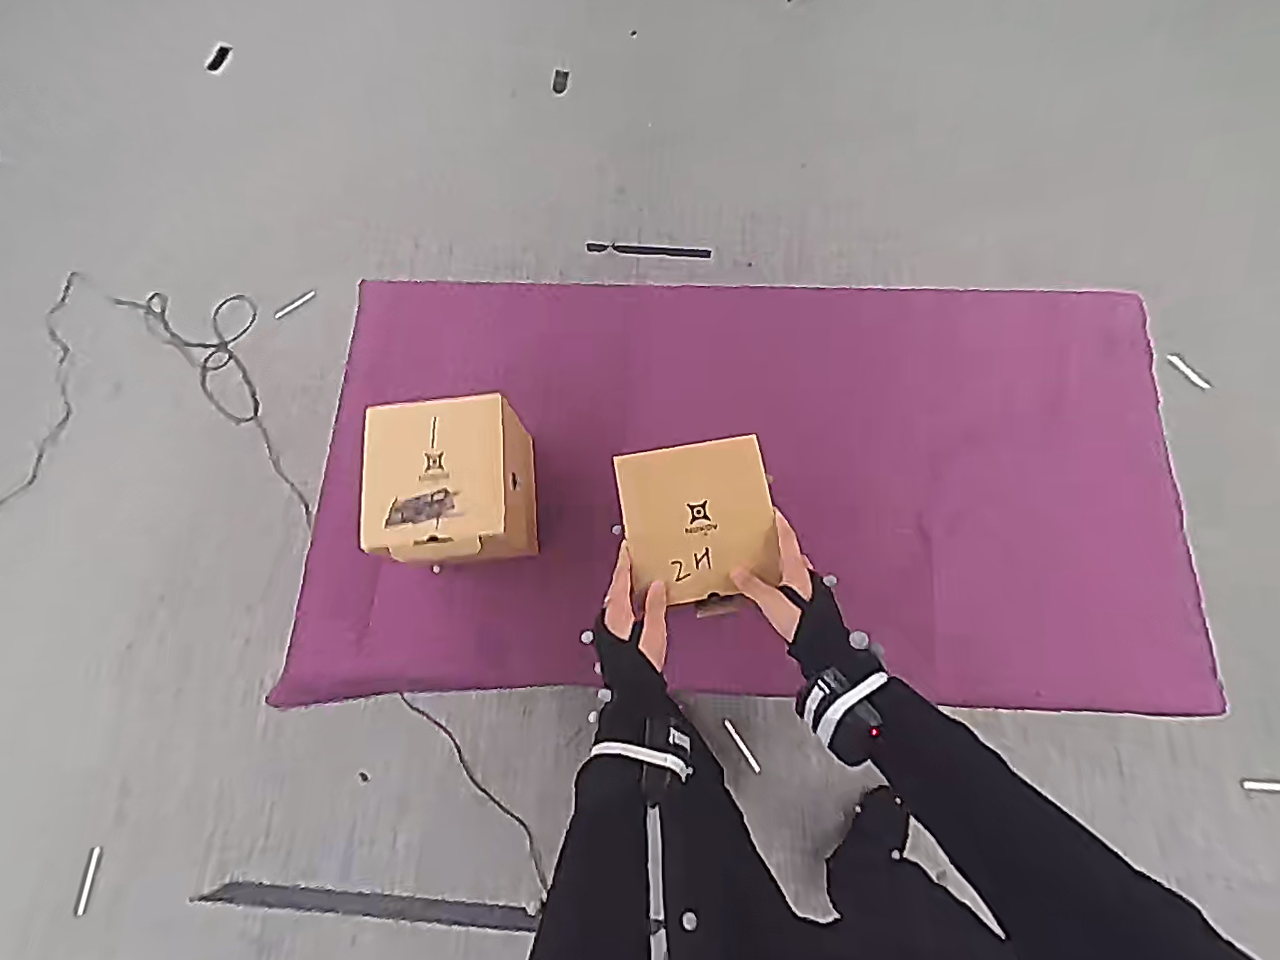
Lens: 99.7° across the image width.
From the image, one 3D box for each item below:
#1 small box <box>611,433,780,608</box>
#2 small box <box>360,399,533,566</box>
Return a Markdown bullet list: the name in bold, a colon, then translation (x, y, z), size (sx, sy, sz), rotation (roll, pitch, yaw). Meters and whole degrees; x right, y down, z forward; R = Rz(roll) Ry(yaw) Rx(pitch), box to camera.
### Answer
- **small box**: translation (0.059, 0.059, 0.671), size (0.168, 0.176, 0.179), rotation (-9, 76, 0)
- **small box**: translation (-0.239, 0.015, 0.704), size (0.168, 0.176, 0.179), rotation (-6, 74, 0)
